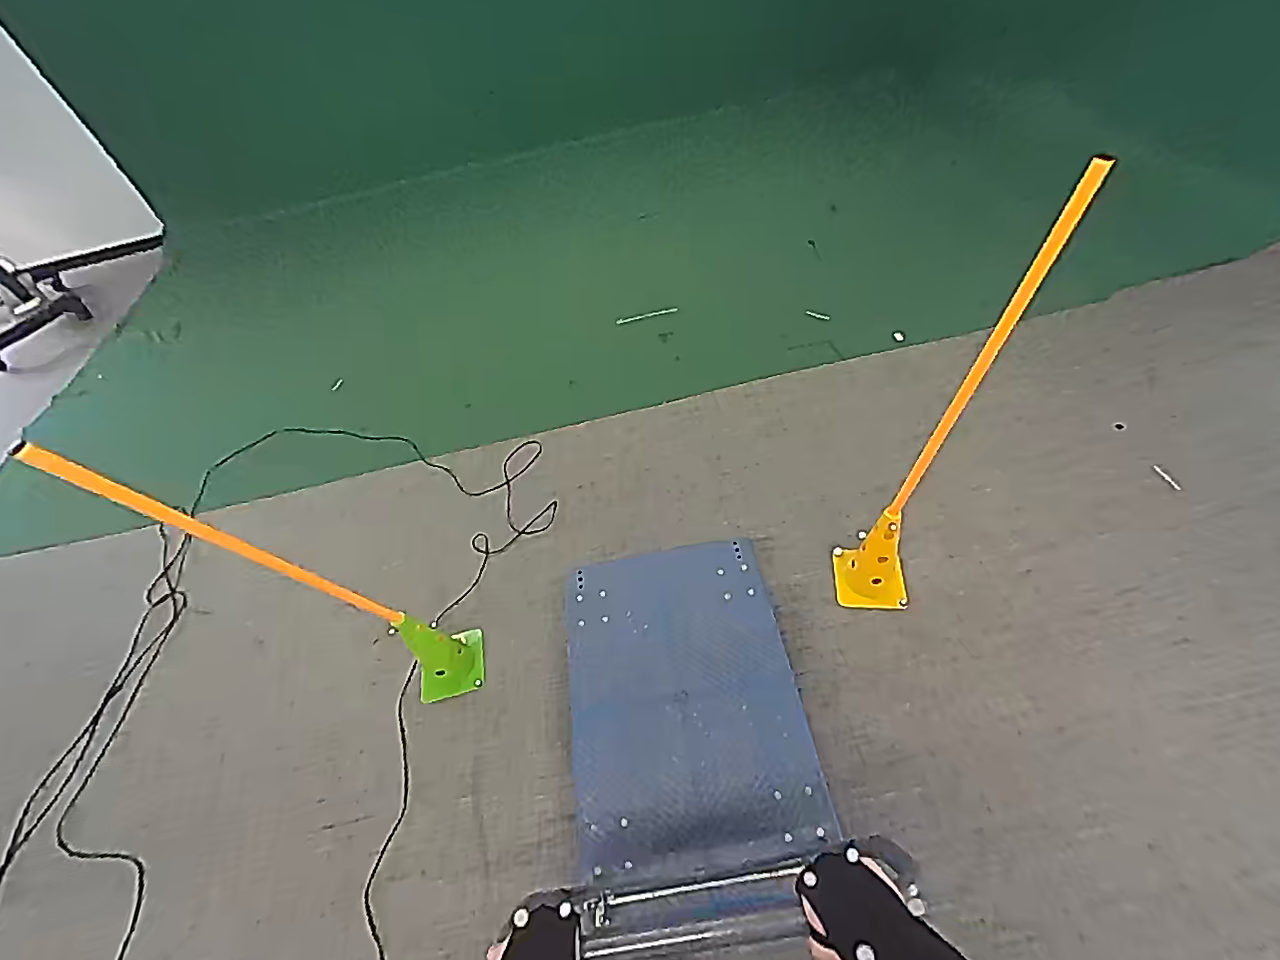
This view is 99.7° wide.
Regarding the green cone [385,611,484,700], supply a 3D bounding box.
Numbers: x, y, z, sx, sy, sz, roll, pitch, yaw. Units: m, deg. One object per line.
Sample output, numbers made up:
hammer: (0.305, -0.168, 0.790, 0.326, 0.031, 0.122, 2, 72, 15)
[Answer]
green cone: (-0.623, 0.469, 1.576, 0.202, 0.368, 0.200, -17, 50, -1)
